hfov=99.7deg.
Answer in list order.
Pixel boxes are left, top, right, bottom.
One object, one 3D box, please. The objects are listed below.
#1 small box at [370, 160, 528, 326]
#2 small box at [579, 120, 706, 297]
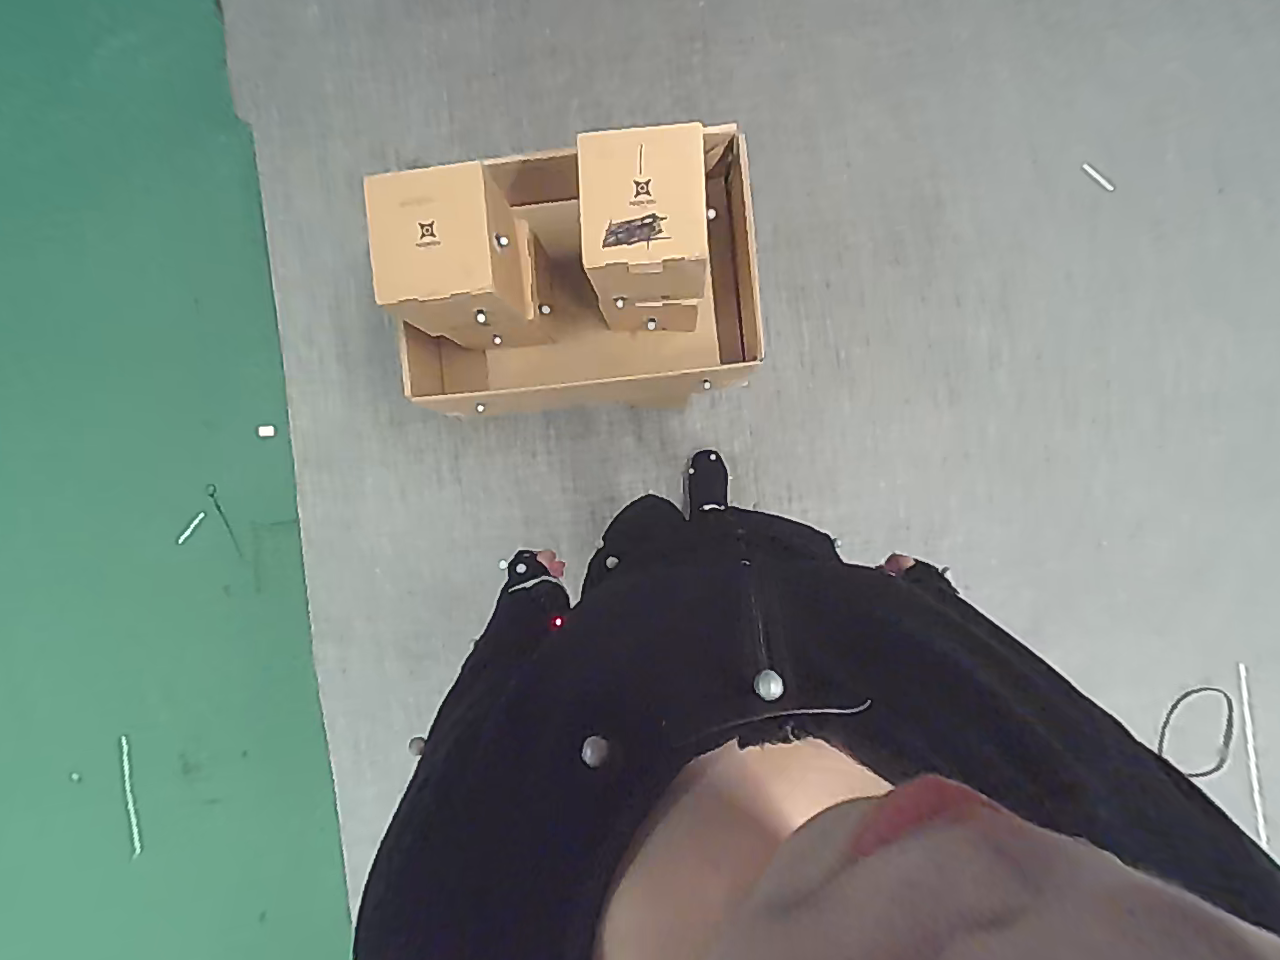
[{"bbox_3d":[-0.273,-0.336,0.807,0.168,0.176,0.179,-4,90,5],"label":"small box"},{"bbox_3d":[0.011,-0.373,0.780,0.168,0.176,0.179,-2,90,5],"label":"small box"}]
